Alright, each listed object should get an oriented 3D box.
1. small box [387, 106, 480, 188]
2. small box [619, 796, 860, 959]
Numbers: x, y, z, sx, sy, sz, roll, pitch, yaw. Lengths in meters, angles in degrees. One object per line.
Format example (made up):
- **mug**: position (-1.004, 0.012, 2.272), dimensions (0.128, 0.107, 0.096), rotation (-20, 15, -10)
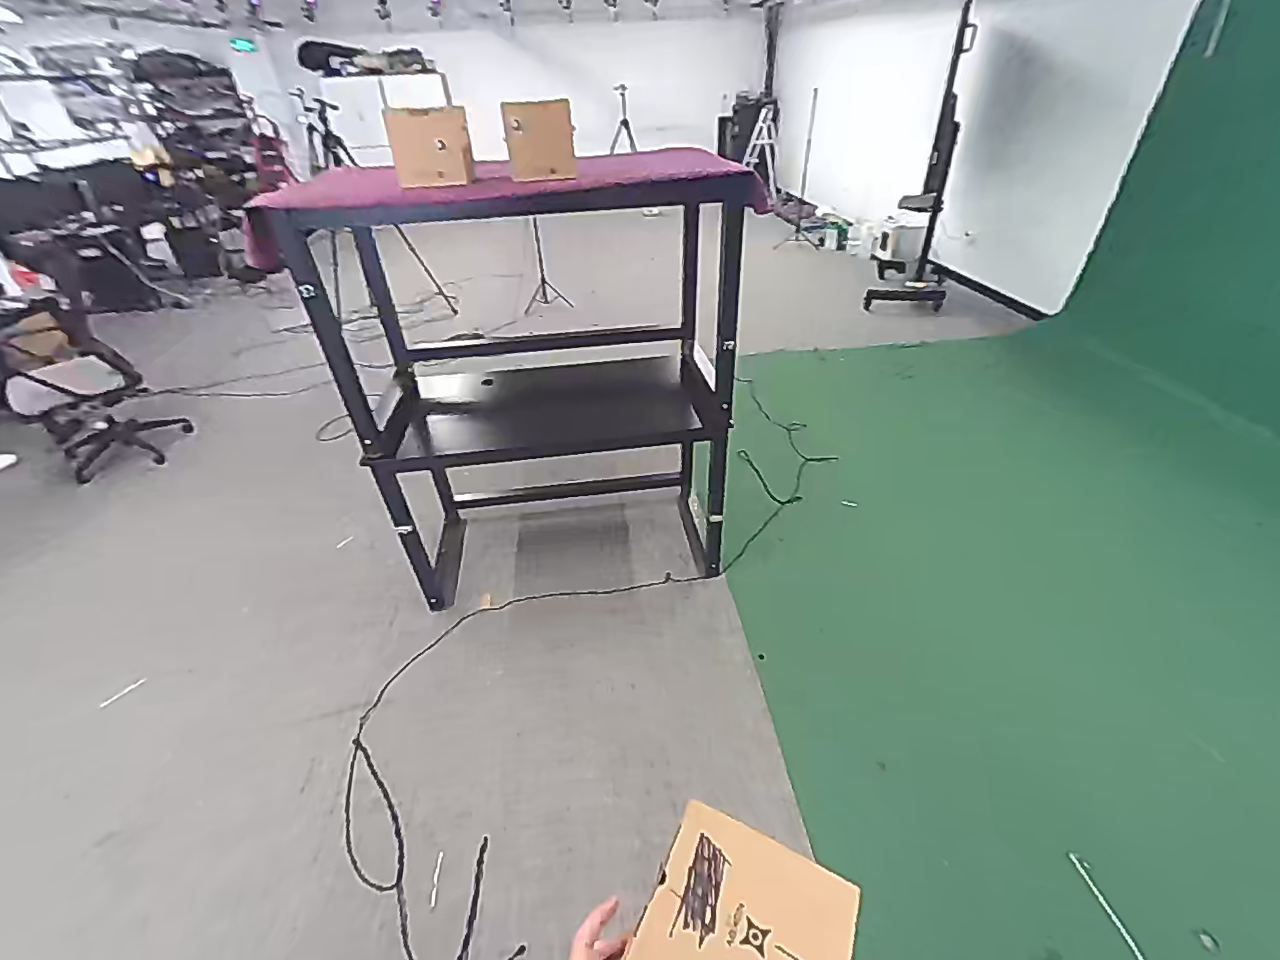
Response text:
- **small box**: position (-0.514, -0.843, 1.373), dimensions (0.168, 0.176, 0.179), rotation (-4, 35, -4)
- **small box**: position (0.087, 0.456, 0.515), dimensions (0.179, 0.176, 0.168), rotation (18, 35, 20)
